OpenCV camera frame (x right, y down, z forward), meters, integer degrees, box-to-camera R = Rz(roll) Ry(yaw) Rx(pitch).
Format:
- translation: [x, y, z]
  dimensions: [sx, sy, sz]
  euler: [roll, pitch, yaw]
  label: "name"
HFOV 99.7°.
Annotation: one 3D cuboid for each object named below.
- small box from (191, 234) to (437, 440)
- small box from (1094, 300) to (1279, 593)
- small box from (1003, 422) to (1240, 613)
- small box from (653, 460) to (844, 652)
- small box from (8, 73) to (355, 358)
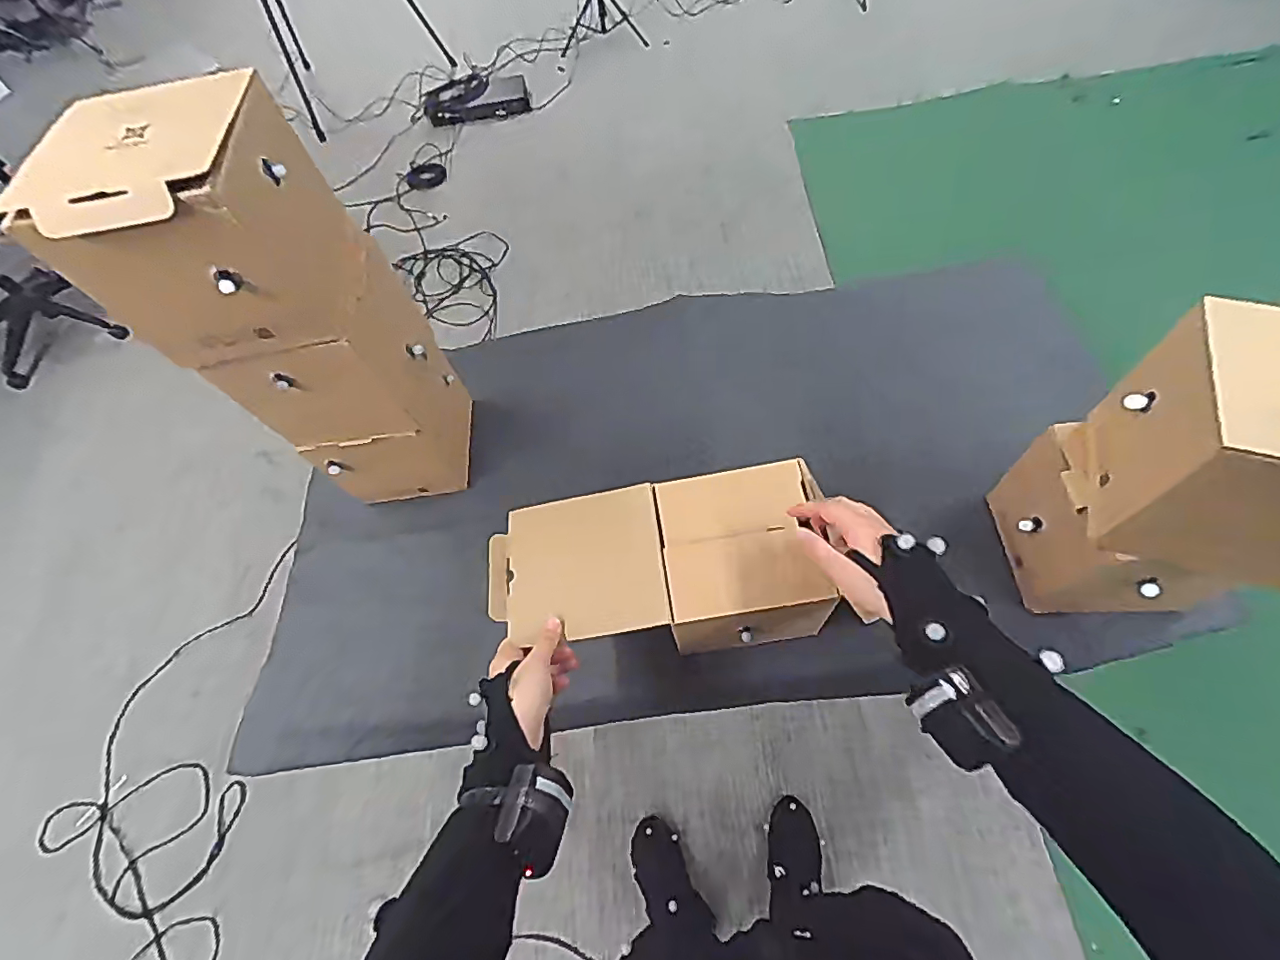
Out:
- translation: [-0.372, -0.162, 0.654]
  dimensions: [0.179, 0.176, 0.168]
  euler: [-7, 63, 3]
  label: "small box"
- translation: [0.532, -0.021, 0.461]
  dimensions: [0.179, 0.176, 0.168]
  euler: [17, 63, 16]
  label: "small box"
- translation: [0.547, 0.047, 0.610]
  dimensions: [0.179, 0.176, 0.168]
  euler: [-3, 59, 7]
  label: "small box"
- translation: [0.118, 0.098, 0.643]
  dimensions: [0.179, 0.176, 0.168]
  euler: [-10, 61, 4]
  label: "small box"
- translation: [-0.397, -0.234, 0.511]
  dimensions: [0.168, 0.176, 0.179]
  euler: [-10, 61, 0]
  label: "small box"
